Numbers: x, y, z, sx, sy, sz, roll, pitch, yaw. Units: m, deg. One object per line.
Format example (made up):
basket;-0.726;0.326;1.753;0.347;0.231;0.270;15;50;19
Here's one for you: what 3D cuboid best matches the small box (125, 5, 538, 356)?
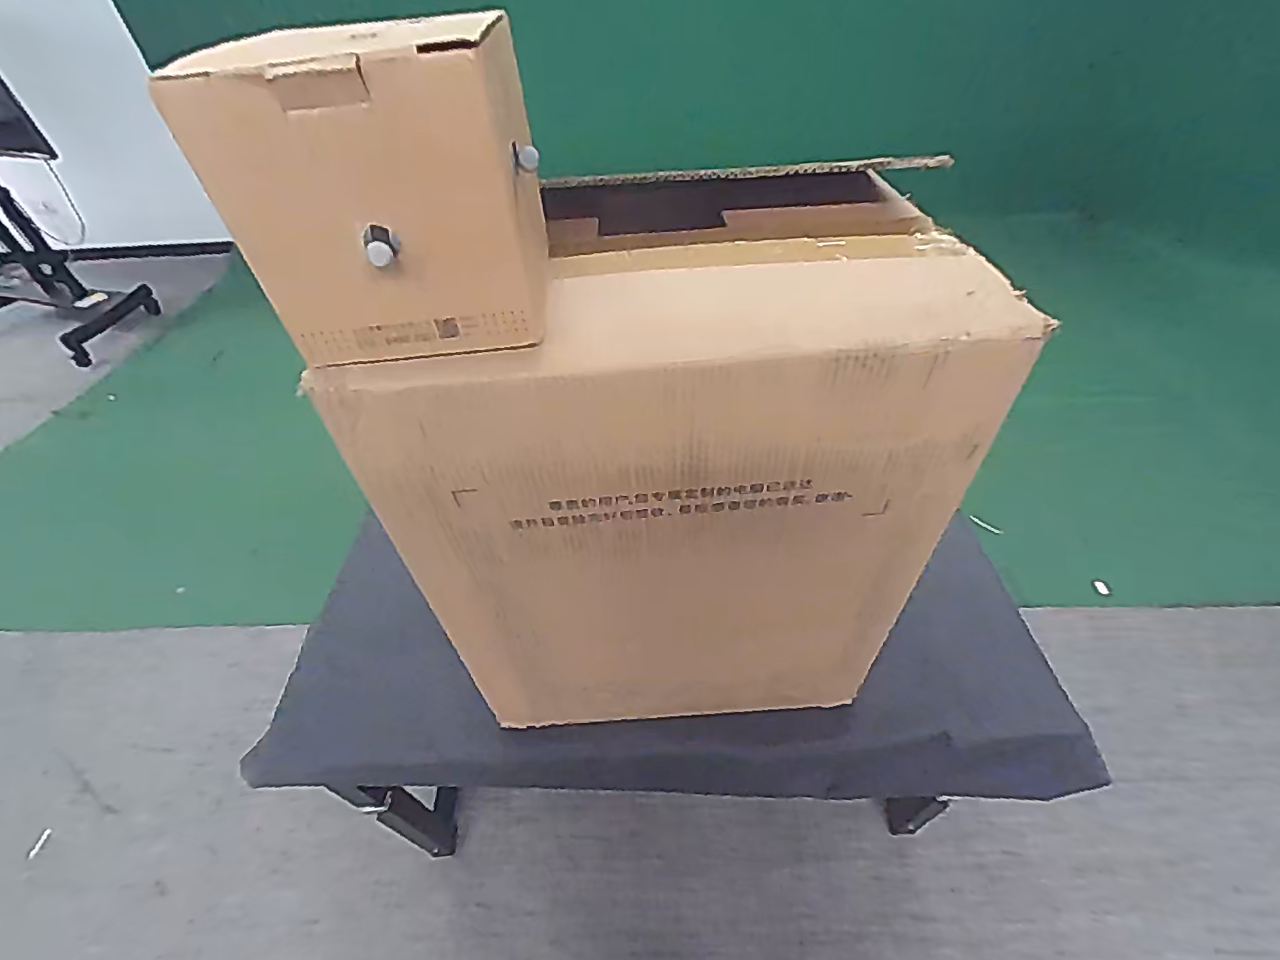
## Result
small box;-0.170;-0.199;0.375;0.168;0.176;0.179;-6;47;0
